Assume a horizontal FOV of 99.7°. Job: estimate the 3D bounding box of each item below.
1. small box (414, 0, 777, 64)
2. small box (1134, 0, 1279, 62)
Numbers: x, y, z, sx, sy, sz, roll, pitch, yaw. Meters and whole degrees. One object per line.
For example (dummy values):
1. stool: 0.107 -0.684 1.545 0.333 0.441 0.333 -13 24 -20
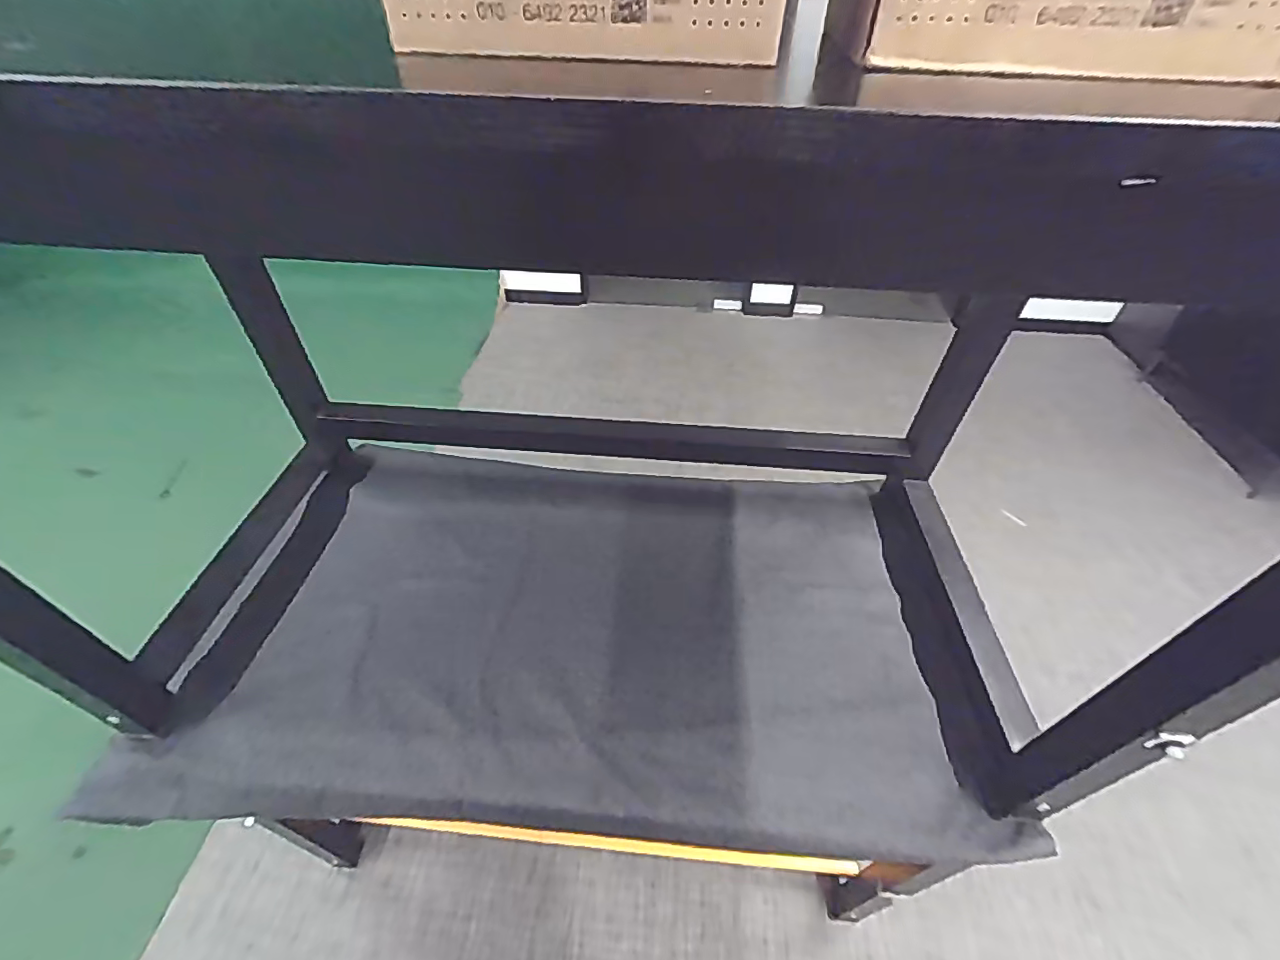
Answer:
1. small box: -0.012 -0.304 0.239 0.168 0.176 0.179 6 44 5
2. small box: 0.368 -0.270 0.212 0.168 0.176 0.179 6 43 6
